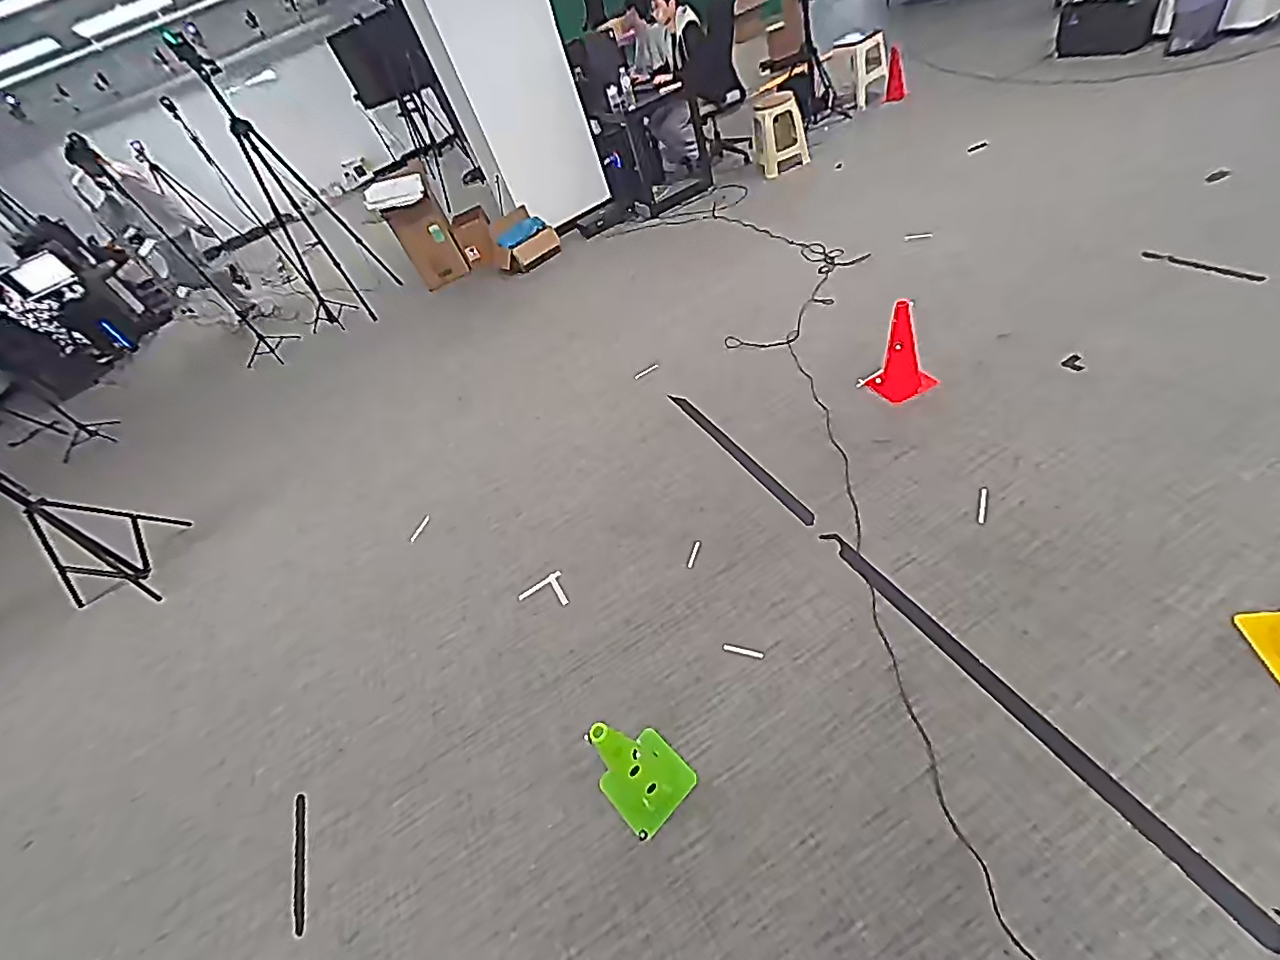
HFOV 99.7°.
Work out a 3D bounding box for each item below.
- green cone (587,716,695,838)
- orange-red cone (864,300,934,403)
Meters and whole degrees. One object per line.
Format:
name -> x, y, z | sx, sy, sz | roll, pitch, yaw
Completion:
green cone -> -0.036, 0.655, 1.285 | 0.200, 0.368, 0.202 | -42, 43, -19
orange-red cone -> 0.962, -0.500, 2.007 | 0.198, 0.360, 0.199 | -27, 43, -2
